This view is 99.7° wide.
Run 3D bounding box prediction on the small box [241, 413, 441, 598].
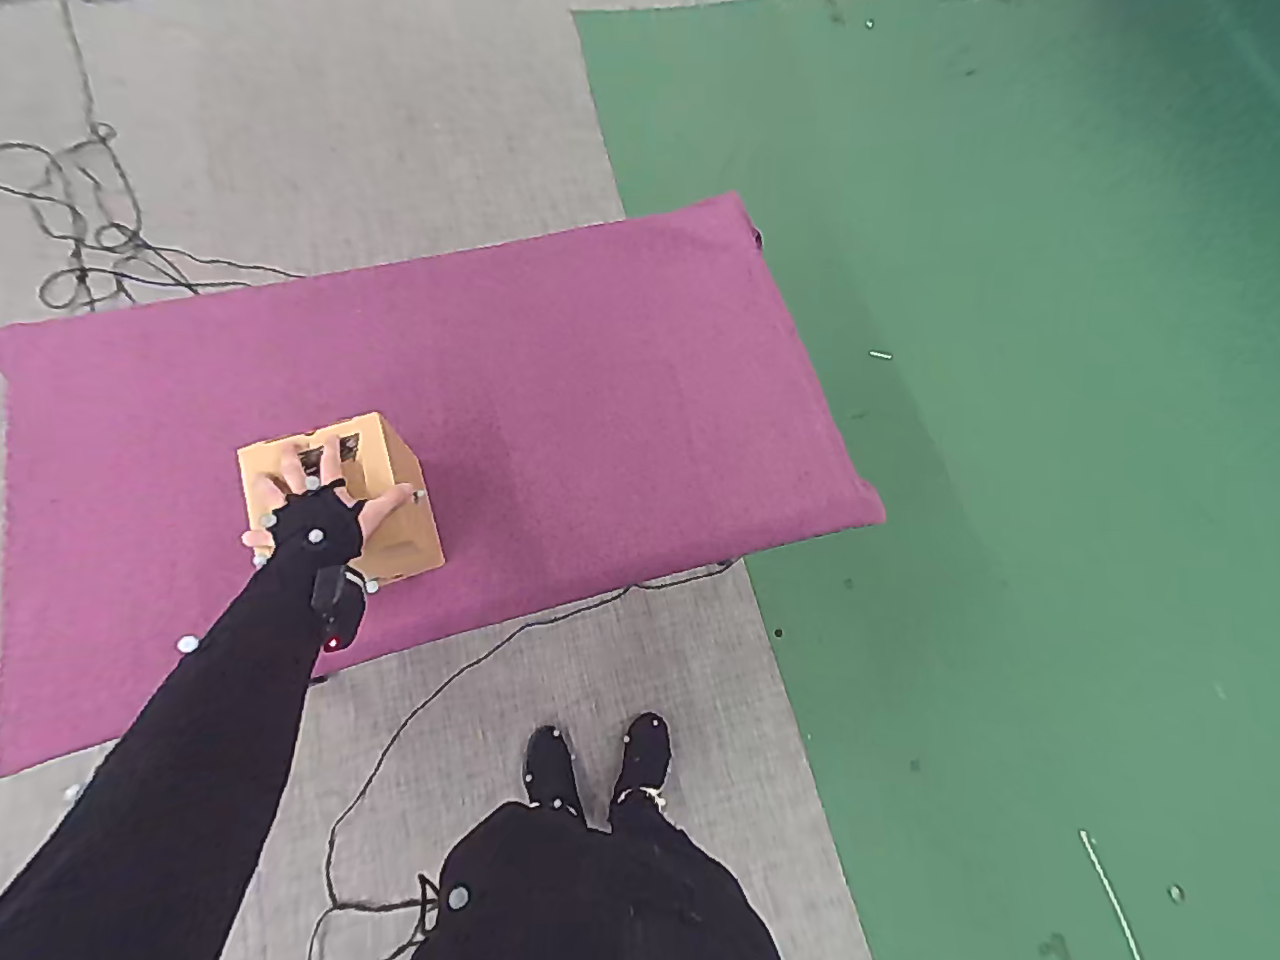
[{"bbox_3d":[-0.381,0.042,0.714,0.168,0.176,0.179,-18,75,-11],"label":"small box"}]
